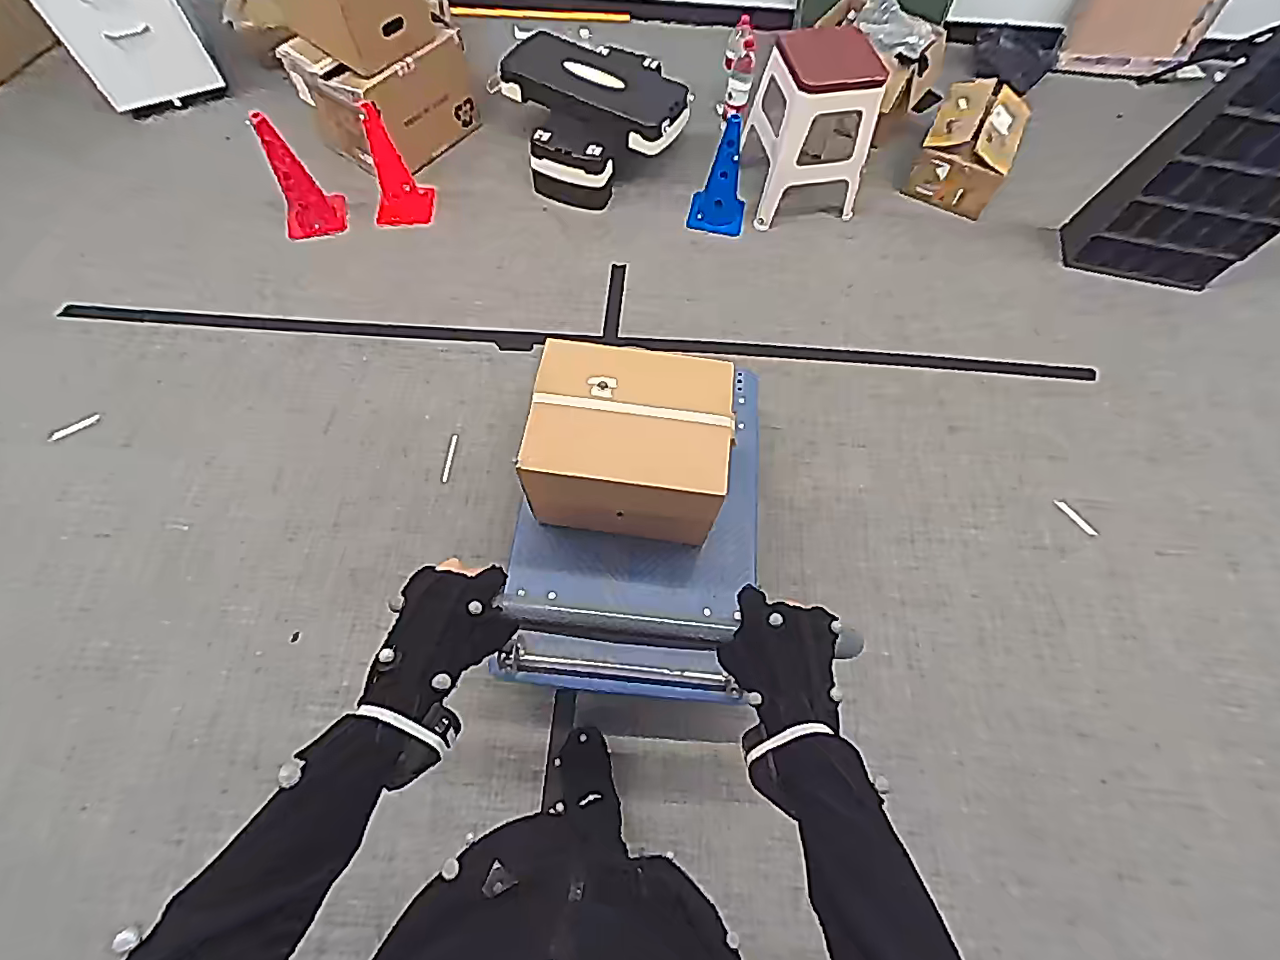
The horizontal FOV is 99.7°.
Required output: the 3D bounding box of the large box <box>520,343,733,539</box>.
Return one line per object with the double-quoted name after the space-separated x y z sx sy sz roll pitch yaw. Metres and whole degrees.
-0.019 -0.073 1.227 0.408 0.320 0.320 8 65 2 "large box"
